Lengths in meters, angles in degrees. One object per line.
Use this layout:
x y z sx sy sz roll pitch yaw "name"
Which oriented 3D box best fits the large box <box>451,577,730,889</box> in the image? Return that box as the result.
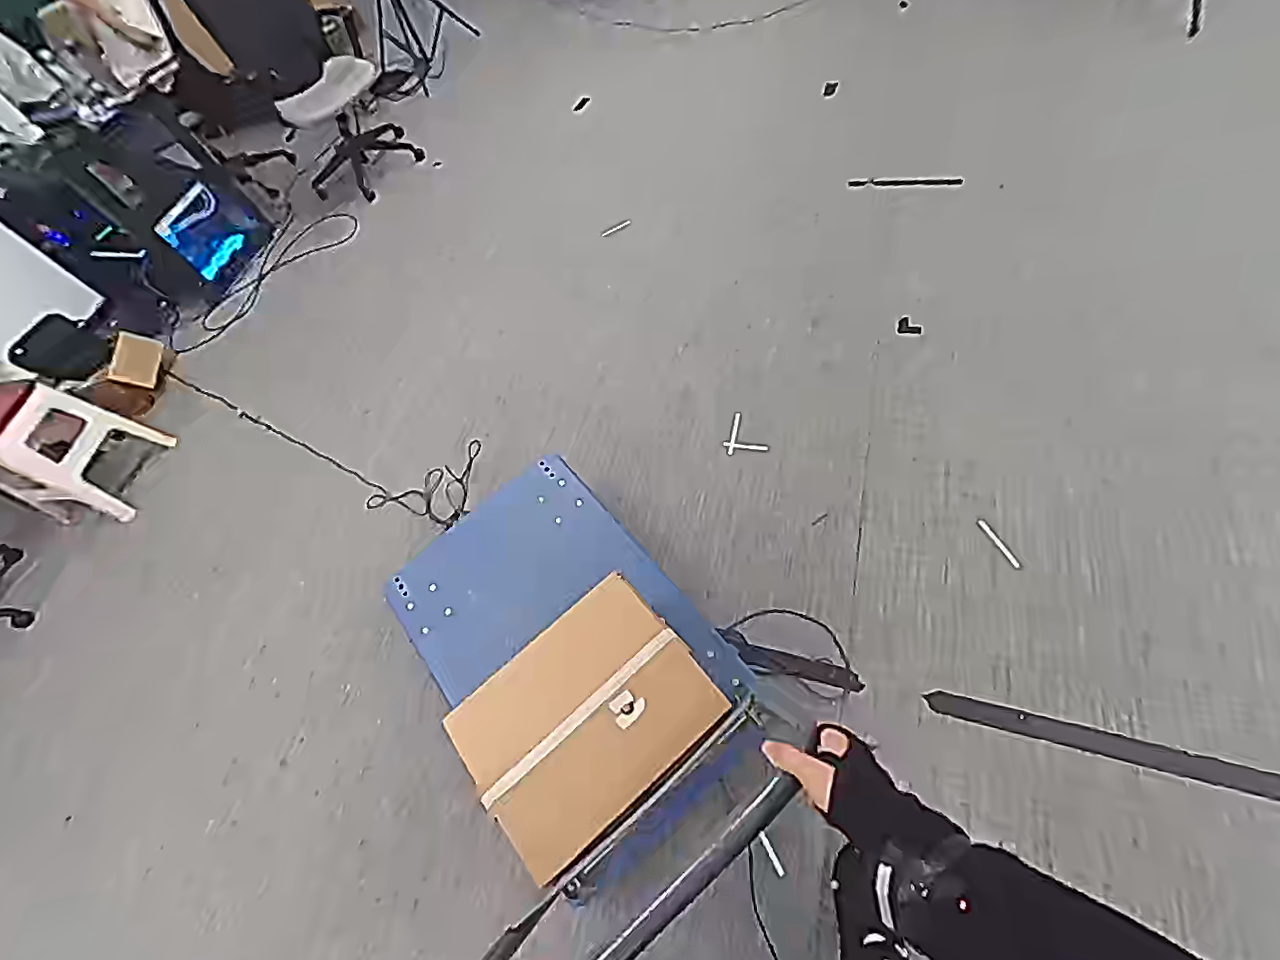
-0.070 0.469 1.053 0.408 0.320 0.320 -40 66 -10 "large box"
